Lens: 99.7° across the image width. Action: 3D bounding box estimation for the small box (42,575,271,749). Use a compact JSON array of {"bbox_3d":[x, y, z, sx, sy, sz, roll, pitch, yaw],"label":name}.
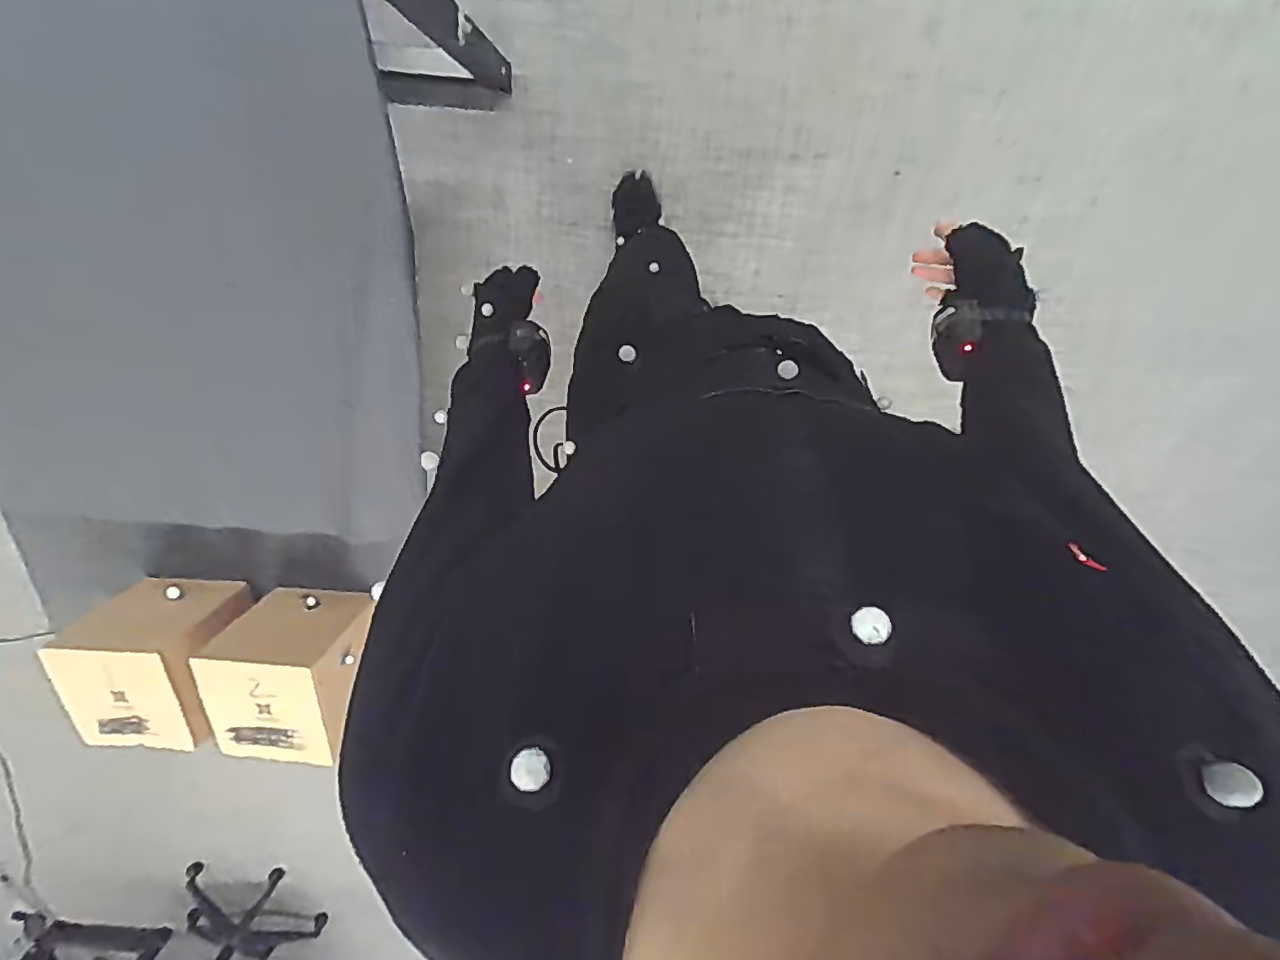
[{"bbox_3d":[-0.695,0.265,0.806,0.168,0.176,0.179,2,113,2],"label":"small box"}]
